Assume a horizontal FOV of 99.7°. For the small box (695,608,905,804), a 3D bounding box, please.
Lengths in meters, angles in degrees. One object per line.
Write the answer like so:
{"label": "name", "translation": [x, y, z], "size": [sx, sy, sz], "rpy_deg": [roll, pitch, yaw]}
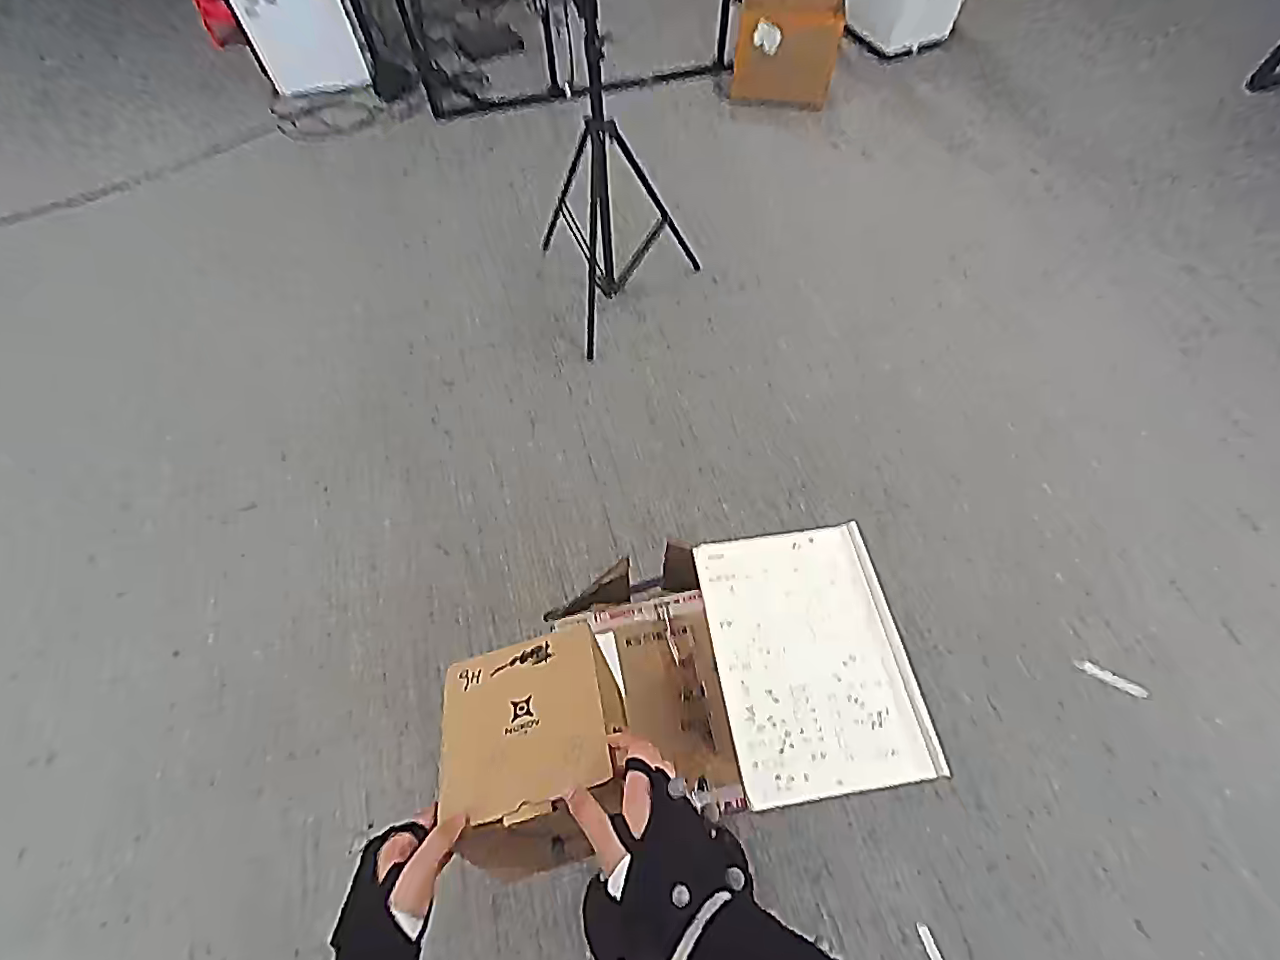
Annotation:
{"label": "small box", "translation": [0.168, 0.268, 0.638], "size": [0.168, 0.176, 0.179], "rpy_deg": [-7, 63, -6]}
